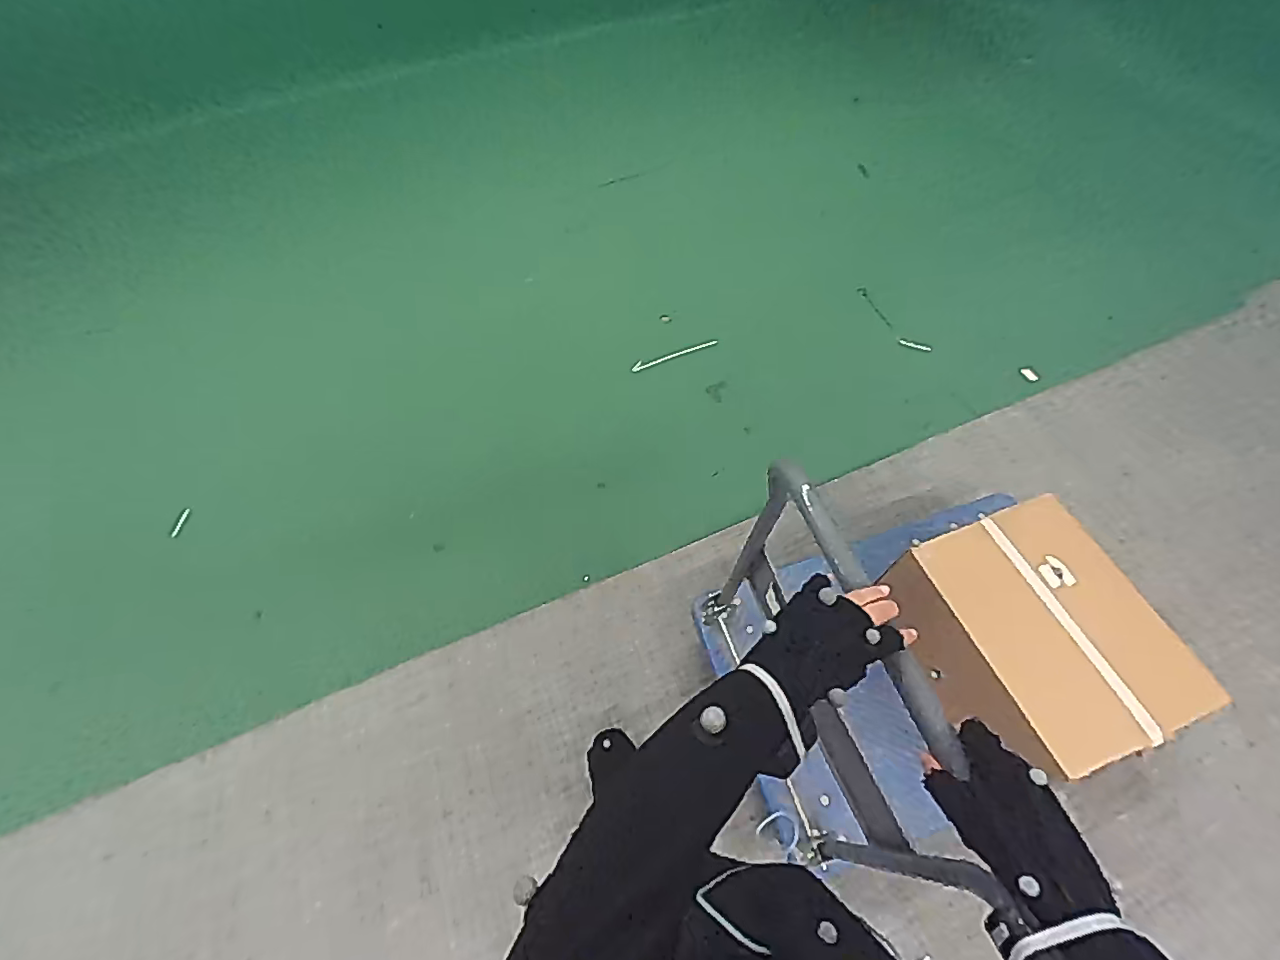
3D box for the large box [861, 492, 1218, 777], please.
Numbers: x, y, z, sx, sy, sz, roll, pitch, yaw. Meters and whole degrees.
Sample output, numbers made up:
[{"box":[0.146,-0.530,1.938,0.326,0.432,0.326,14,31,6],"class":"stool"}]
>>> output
[{"box":[0.712,0.305,1.056,0.320,0.320,0.408,-20,60,-9],"class":"large box"}]
